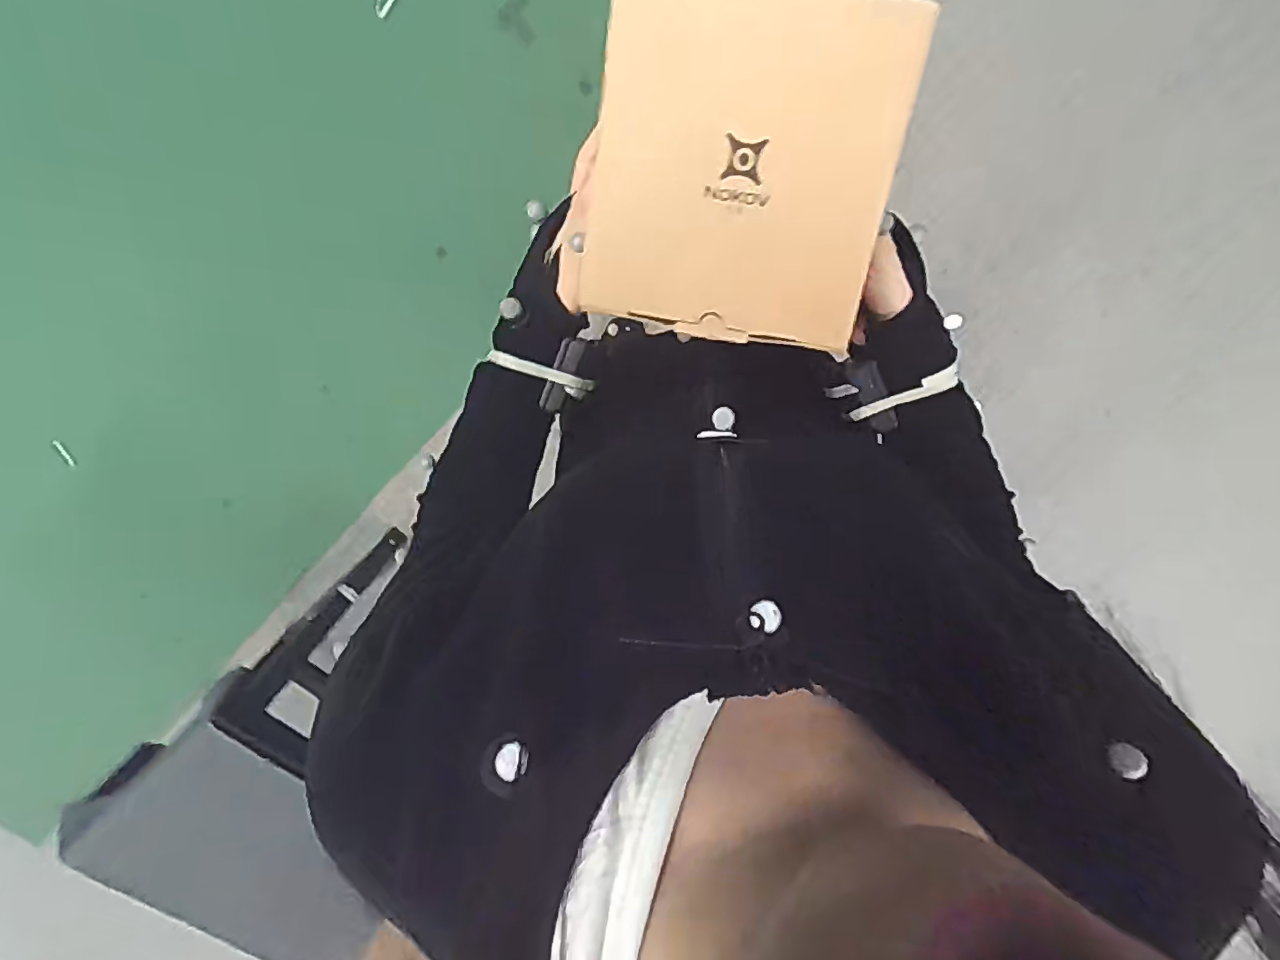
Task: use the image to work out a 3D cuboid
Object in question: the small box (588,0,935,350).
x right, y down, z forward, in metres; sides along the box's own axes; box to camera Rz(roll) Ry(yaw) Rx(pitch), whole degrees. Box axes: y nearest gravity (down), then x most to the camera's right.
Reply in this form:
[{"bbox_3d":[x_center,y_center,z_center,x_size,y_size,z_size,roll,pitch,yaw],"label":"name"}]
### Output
[{"bbox_3d":[0.064,-0.197,0.379,0.168,0.176,0.179,9,108,1],"label":"small box"}]
